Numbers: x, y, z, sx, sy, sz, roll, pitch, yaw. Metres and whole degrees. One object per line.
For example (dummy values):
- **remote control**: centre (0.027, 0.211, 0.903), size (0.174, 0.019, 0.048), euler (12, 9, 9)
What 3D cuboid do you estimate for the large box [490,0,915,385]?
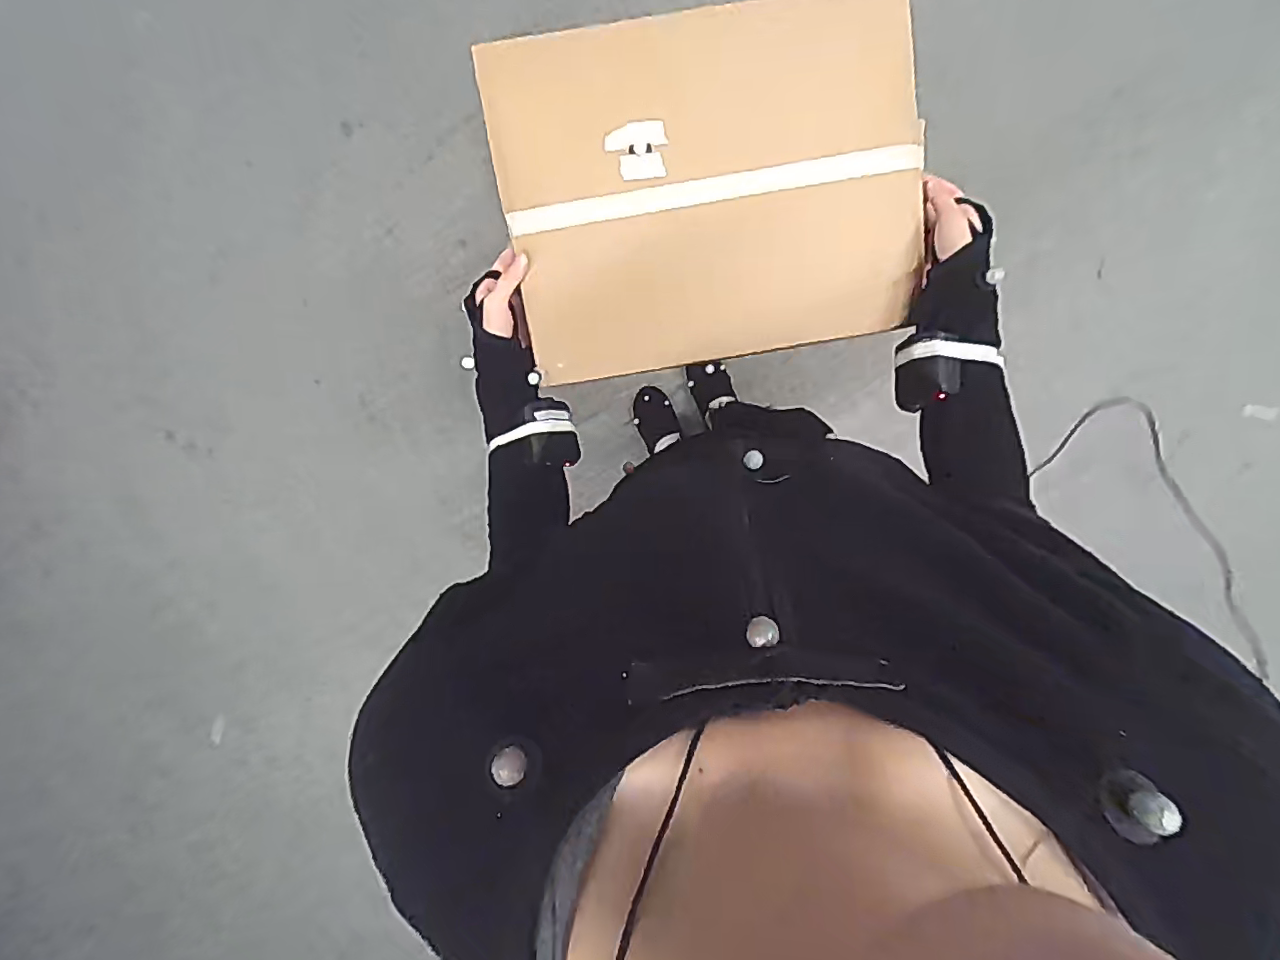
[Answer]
- **large box**: centre (0.071, -0.310, 0.687), size (0.408, 0.320, 0.320), euler (-8, 101, 0)
